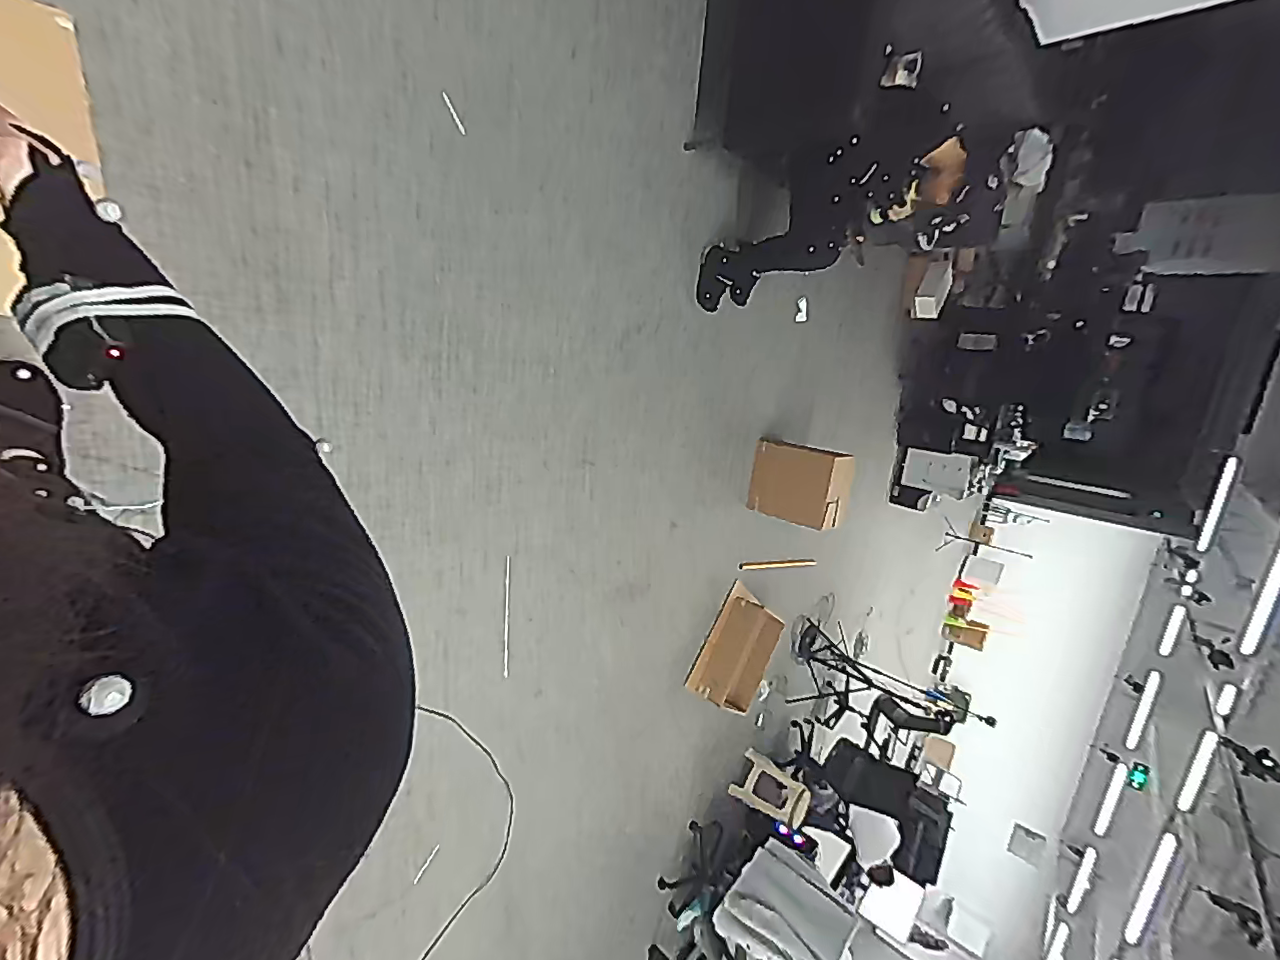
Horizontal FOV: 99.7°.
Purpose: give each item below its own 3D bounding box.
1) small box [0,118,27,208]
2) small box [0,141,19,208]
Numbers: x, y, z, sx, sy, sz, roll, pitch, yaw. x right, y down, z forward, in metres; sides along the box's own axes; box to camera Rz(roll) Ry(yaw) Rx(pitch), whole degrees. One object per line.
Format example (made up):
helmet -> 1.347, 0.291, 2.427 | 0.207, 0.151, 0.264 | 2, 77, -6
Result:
small box -> -0.712, -0.353, 0.496 | 0.168, 0.176, 0.179 | -23, 121, -42
small box -> -0.541, -0.273, 0.337 | 0.168, 0.176, 0.179 | -20, 123, -40
